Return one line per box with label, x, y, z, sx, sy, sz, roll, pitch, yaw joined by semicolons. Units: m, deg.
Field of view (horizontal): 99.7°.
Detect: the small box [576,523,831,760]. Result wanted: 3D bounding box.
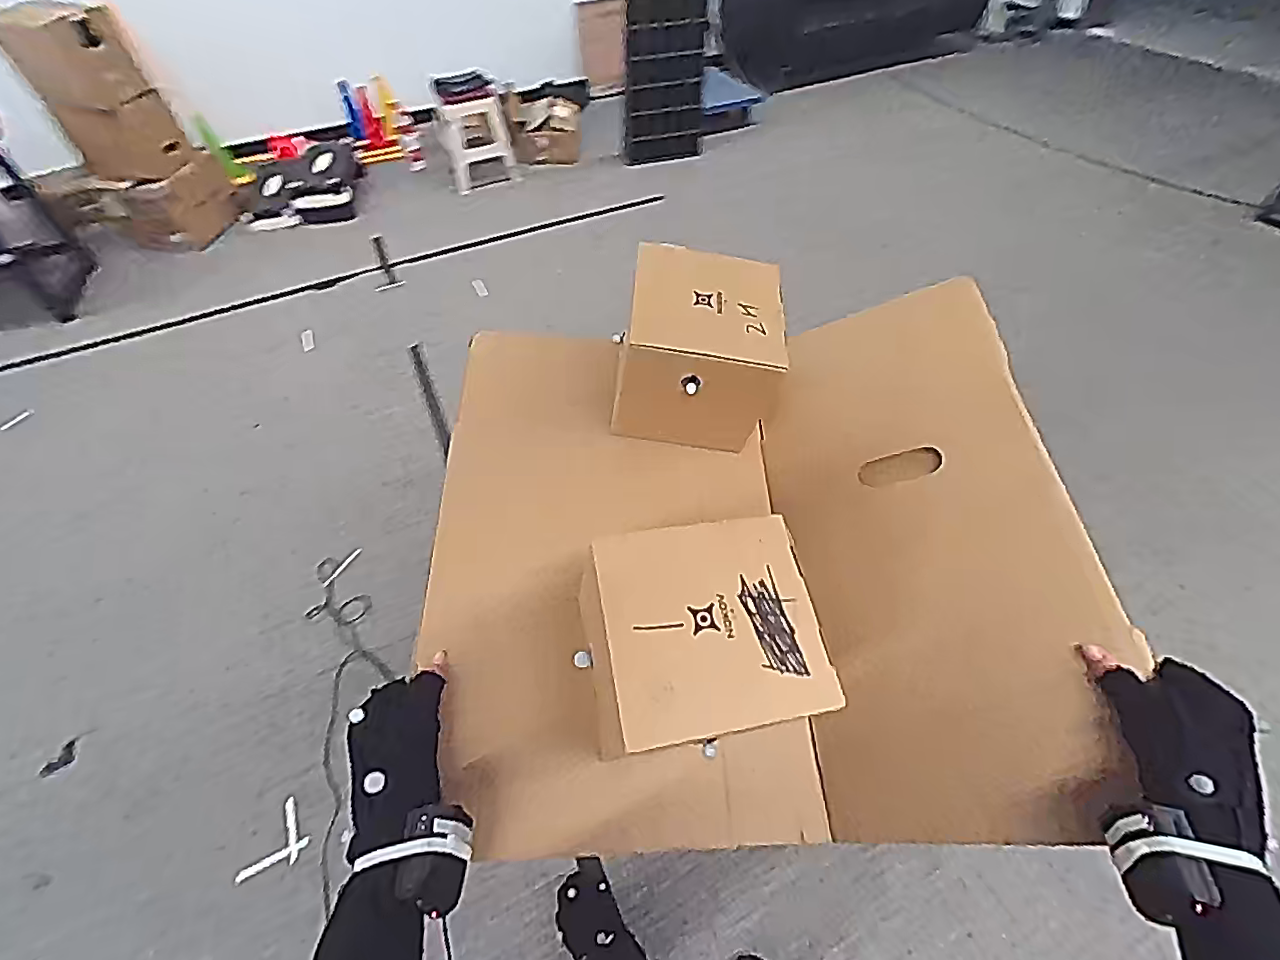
small box;0.040;0.155;0.508;0.179;0.176;0.168;-6;62;-13
